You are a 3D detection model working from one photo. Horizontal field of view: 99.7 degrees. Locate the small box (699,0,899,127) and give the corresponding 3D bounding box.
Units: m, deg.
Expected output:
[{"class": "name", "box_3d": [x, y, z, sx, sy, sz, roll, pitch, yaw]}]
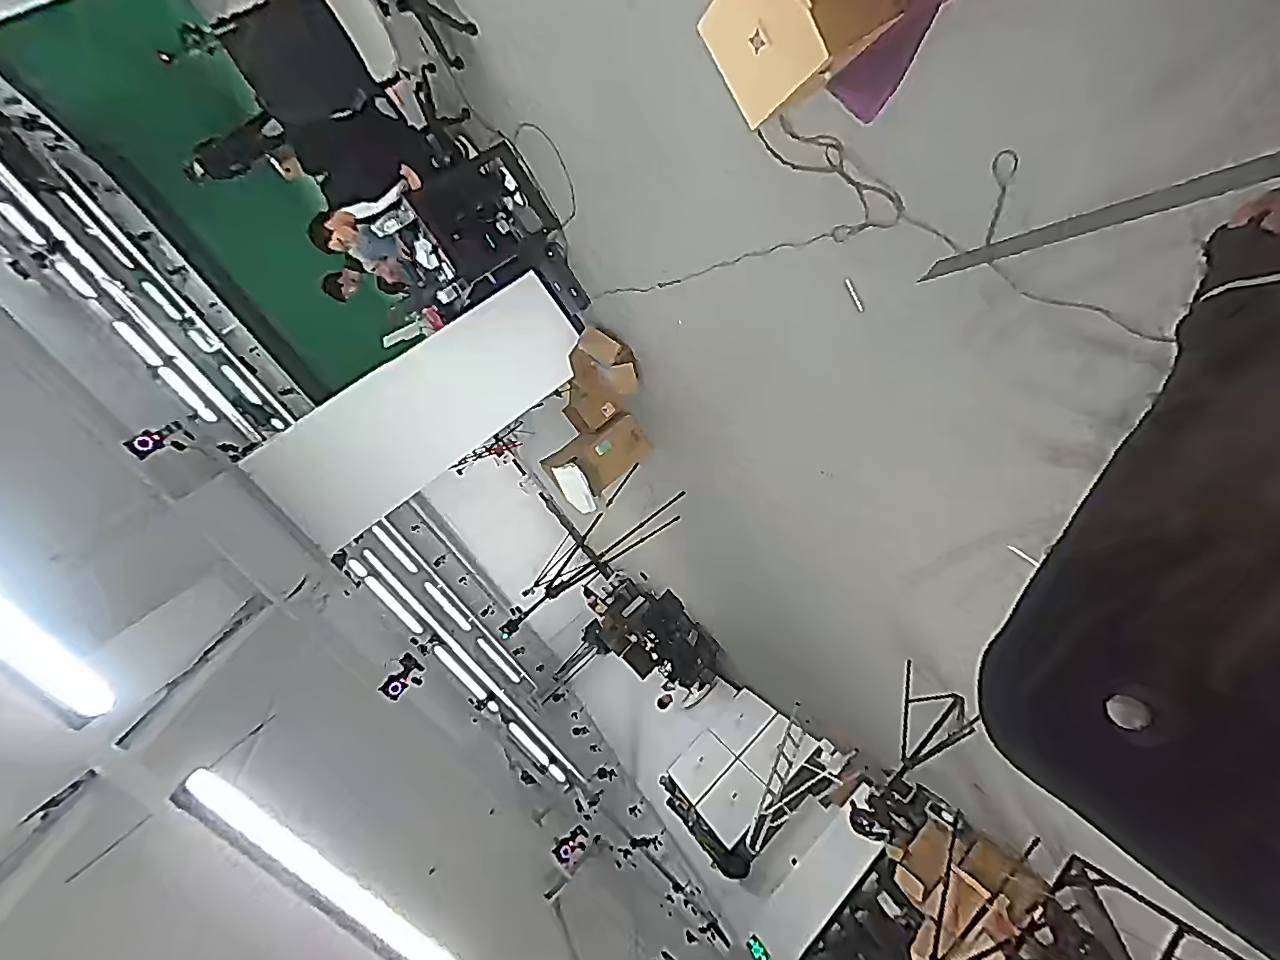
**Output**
[{"class": "small box", "box_3d": [0.221, -0.652, 0.758, 0.168, 0.176, 0.179, 54, 163, -16]}]
